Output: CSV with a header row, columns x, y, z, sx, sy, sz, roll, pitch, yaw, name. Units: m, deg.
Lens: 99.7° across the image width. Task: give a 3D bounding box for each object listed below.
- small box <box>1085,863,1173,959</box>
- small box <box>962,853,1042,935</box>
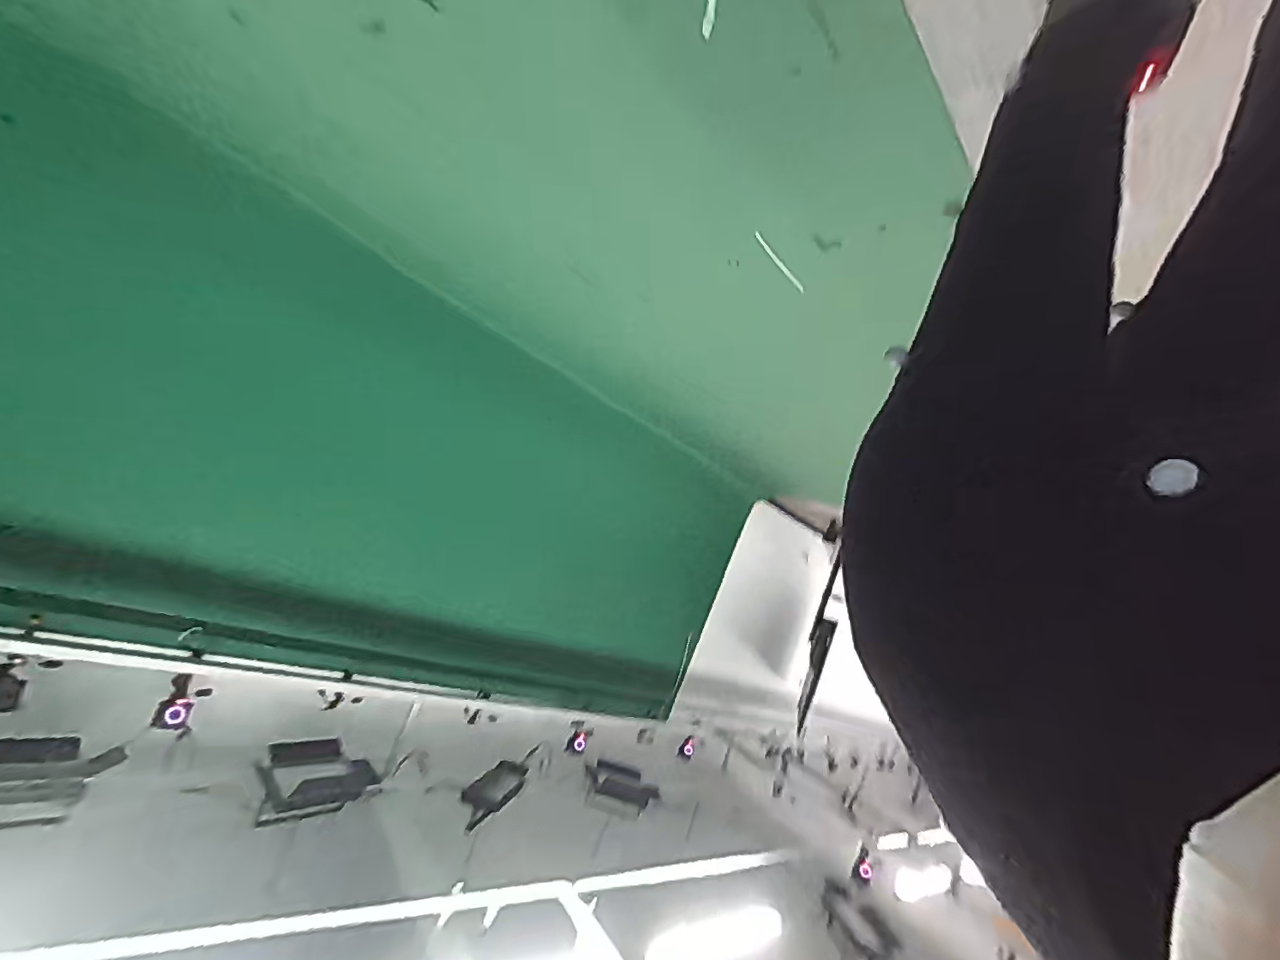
x,y,z,sx,sy,sz,roll,pitch,yaw,name
1.515,1.333,1.670,0.168,0.176,0.179,27,172,-41,small box
1.272,1.434,1.897,0.168,0.176,0.179,26,171,-37,small box
